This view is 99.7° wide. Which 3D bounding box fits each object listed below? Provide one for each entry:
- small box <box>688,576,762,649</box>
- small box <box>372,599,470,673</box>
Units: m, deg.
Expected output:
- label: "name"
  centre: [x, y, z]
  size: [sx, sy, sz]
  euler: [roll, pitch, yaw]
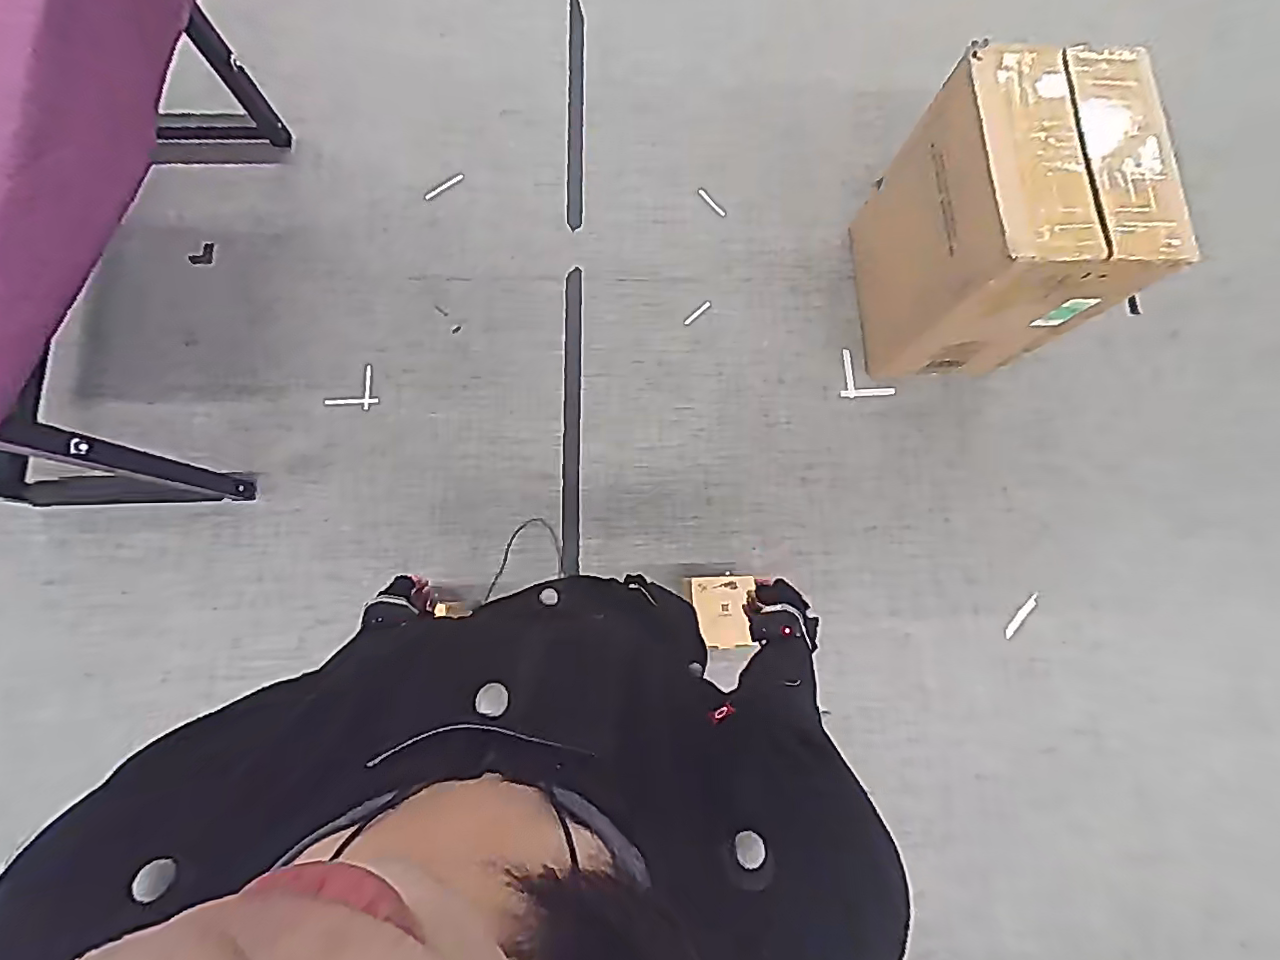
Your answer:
- label: "small box"
  centre: [0.221, 0.348, 1.448]
  size: [0.168, 0.176, 0.179]
  euler: [-1, 80, -3]
- label: "small box"
  centre: [-0.556, 0.398, 1.400]
  size: [0.179, 0.176, 0.168]
  euler: [4, 77, 1]
